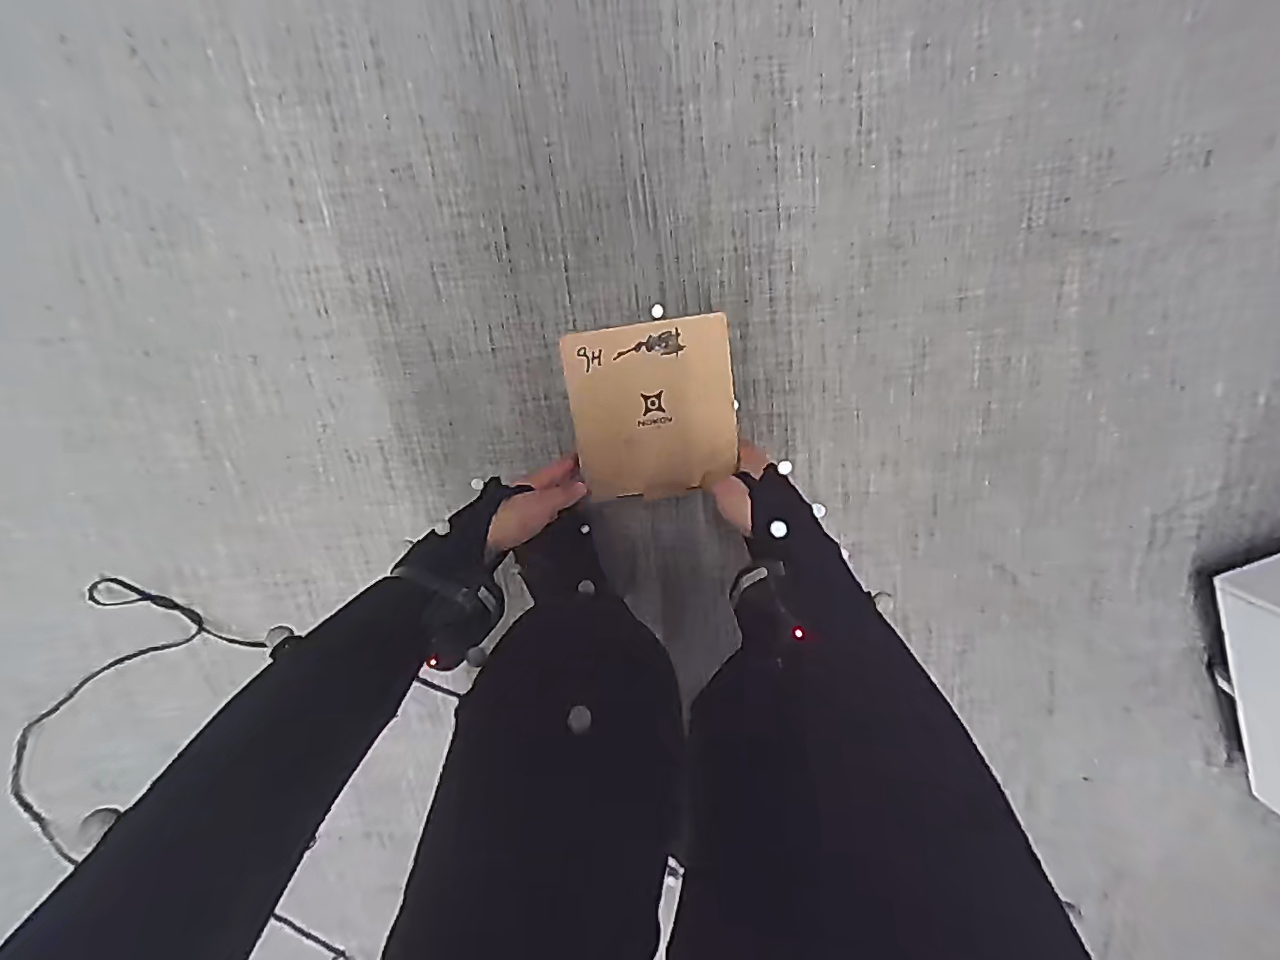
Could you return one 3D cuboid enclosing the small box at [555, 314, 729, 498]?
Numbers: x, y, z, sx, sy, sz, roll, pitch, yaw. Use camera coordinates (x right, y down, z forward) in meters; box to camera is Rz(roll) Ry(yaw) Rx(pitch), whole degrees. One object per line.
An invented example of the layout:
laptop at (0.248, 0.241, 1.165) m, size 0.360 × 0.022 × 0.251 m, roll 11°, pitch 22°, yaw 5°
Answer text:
small box at (0.006, -0.094, 0.629) m, size 0.168 × 0.176 × 0.179 m, roll -7°, pitch 106°, yaw 2°
